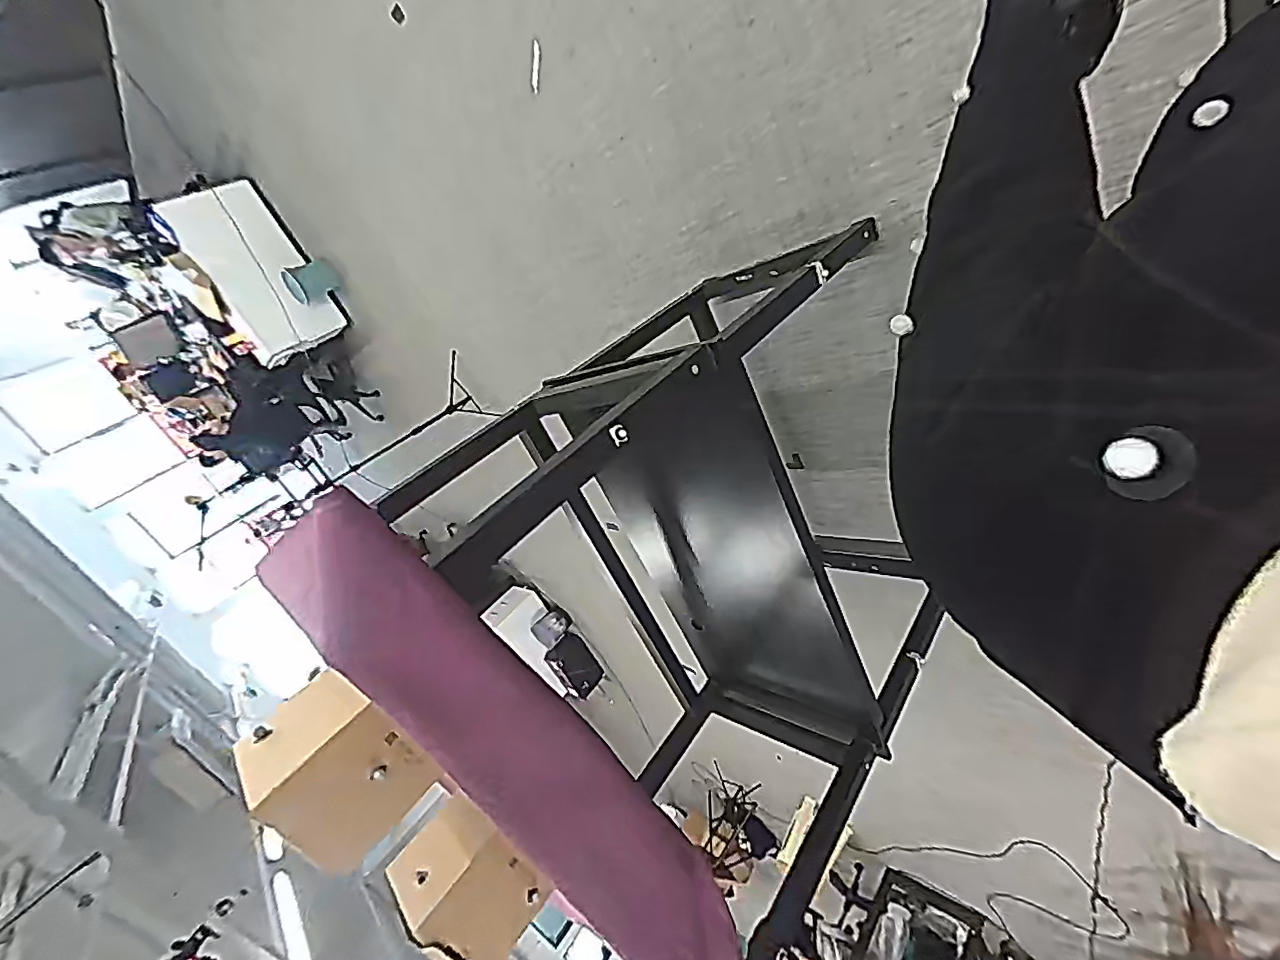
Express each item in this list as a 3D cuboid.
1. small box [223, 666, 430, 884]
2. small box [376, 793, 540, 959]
[{"bbox_3d":[-0.423,0.386,0.742,0.179,0.176,0.168,5,130,47],"label":"small box"},{"bbox_3d":[-0.289,0.655,0.883,0.179,0.176,0.168,-5,121,53],"label":"small box"}]
